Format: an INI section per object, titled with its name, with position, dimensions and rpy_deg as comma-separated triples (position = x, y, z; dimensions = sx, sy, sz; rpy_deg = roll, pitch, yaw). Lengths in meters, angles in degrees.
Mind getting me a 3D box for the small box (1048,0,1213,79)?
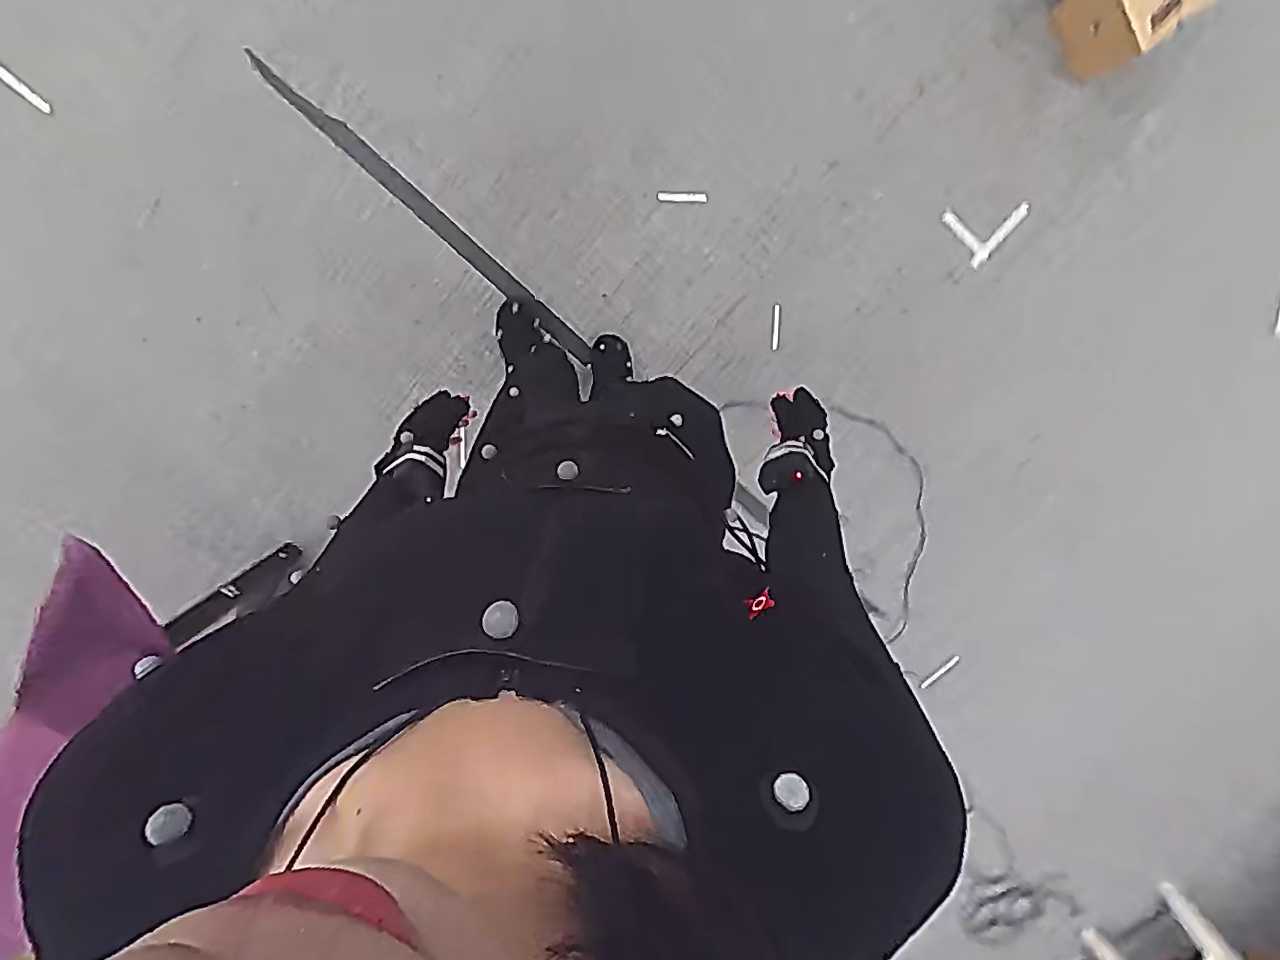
[small box]
position = 1.029, -0.999, 1.146
dimensions = 0.168, 0.176, 0.179
rpy_deg = -37, 103, 10
